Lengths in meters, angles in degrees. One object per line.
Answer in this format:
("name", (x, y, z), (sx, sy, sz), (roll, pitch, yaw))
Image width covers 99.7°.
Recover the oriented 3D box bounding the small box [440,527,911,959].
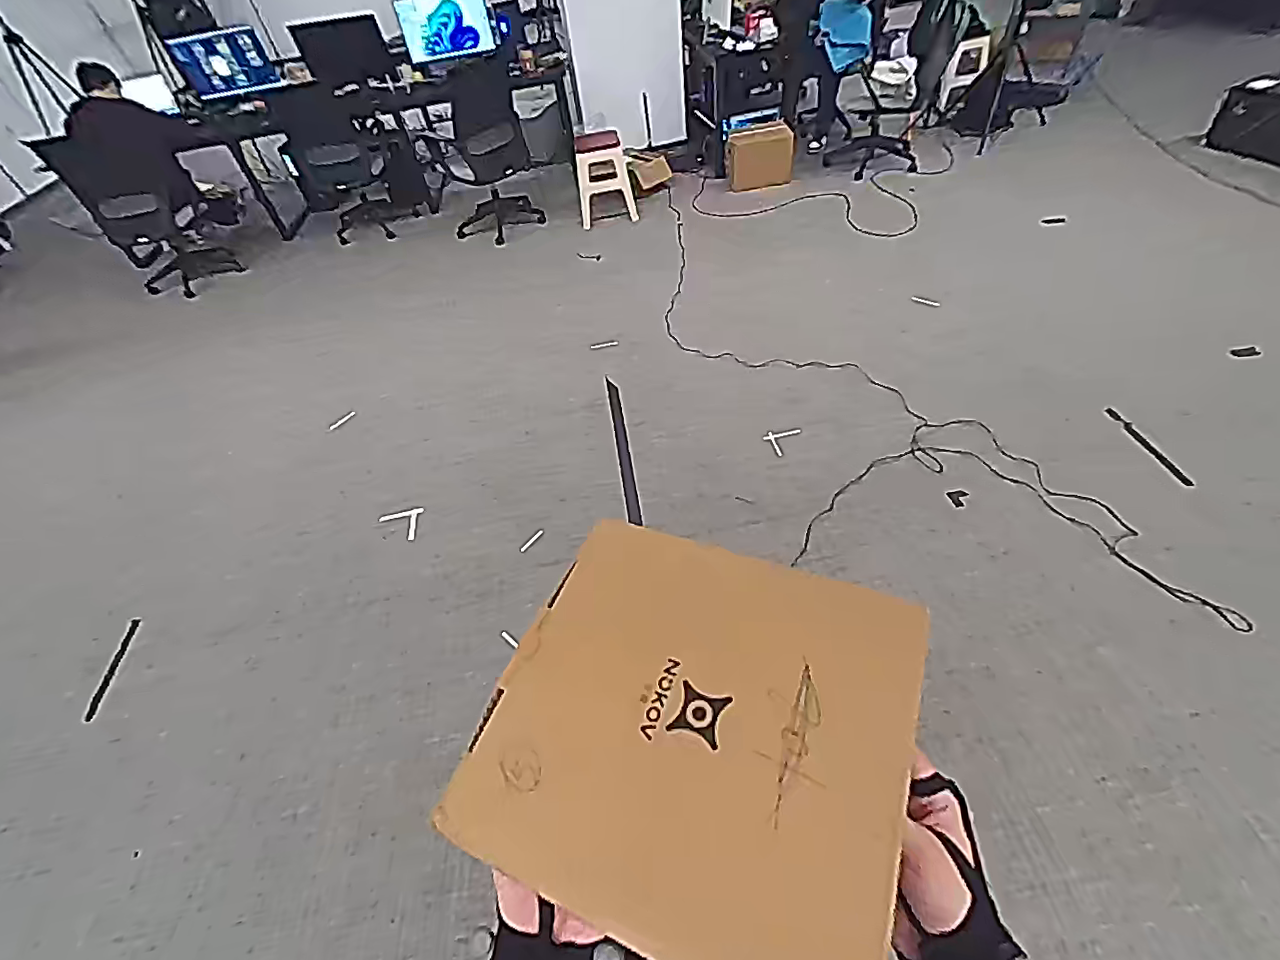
("small box", (0.032, 0.156, 0.308), (0.179, 0.176, 0.168), (14, 55, 20))
